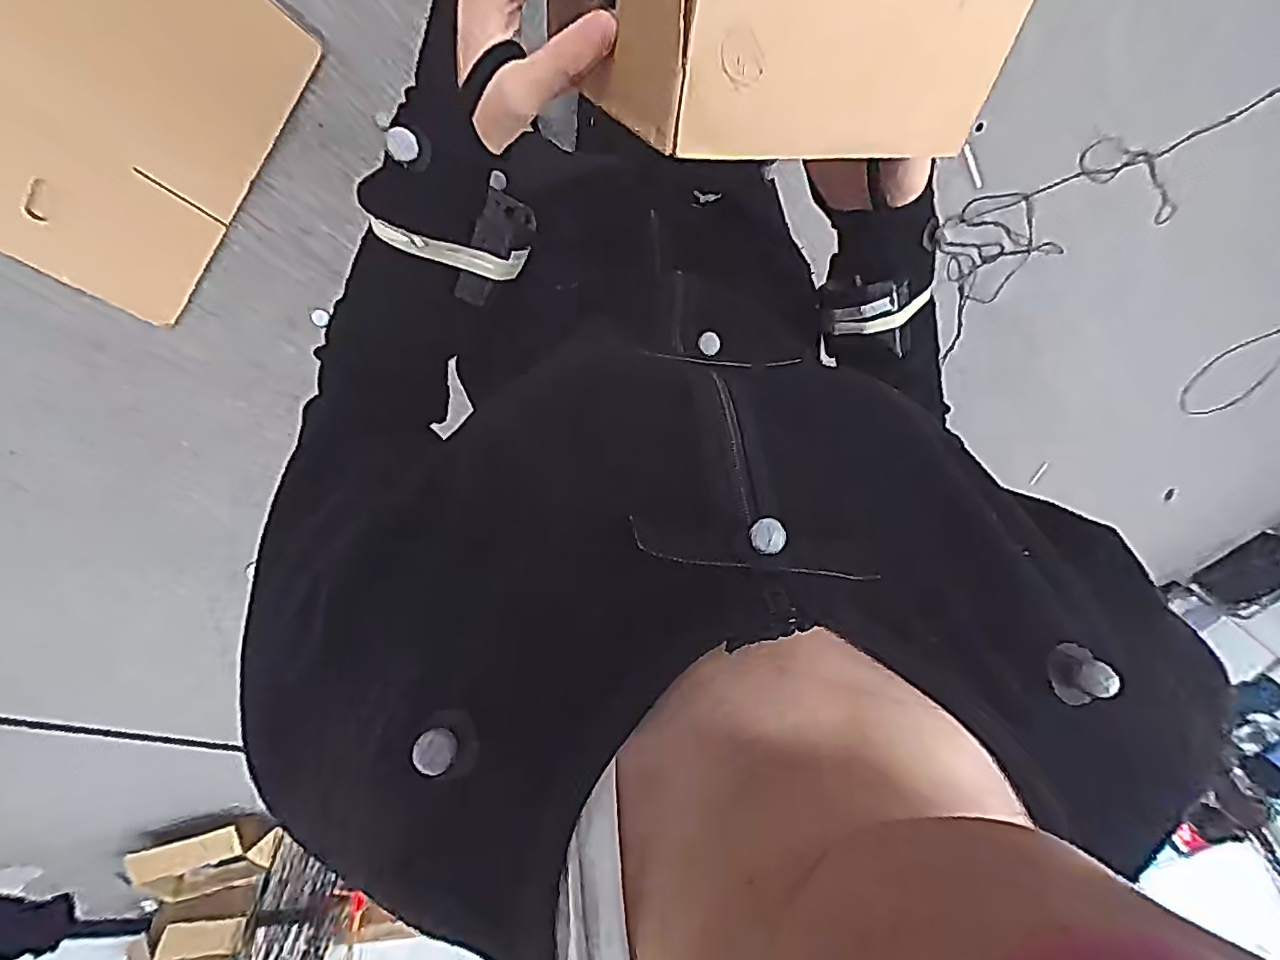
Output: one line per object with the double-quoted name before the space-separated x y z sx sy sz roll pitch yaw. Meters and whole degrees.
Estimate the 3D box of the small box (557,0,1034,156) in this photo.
"small box" 0.067 -0.265 0.246 0.179 0.176 0.168 -15 141 -21
